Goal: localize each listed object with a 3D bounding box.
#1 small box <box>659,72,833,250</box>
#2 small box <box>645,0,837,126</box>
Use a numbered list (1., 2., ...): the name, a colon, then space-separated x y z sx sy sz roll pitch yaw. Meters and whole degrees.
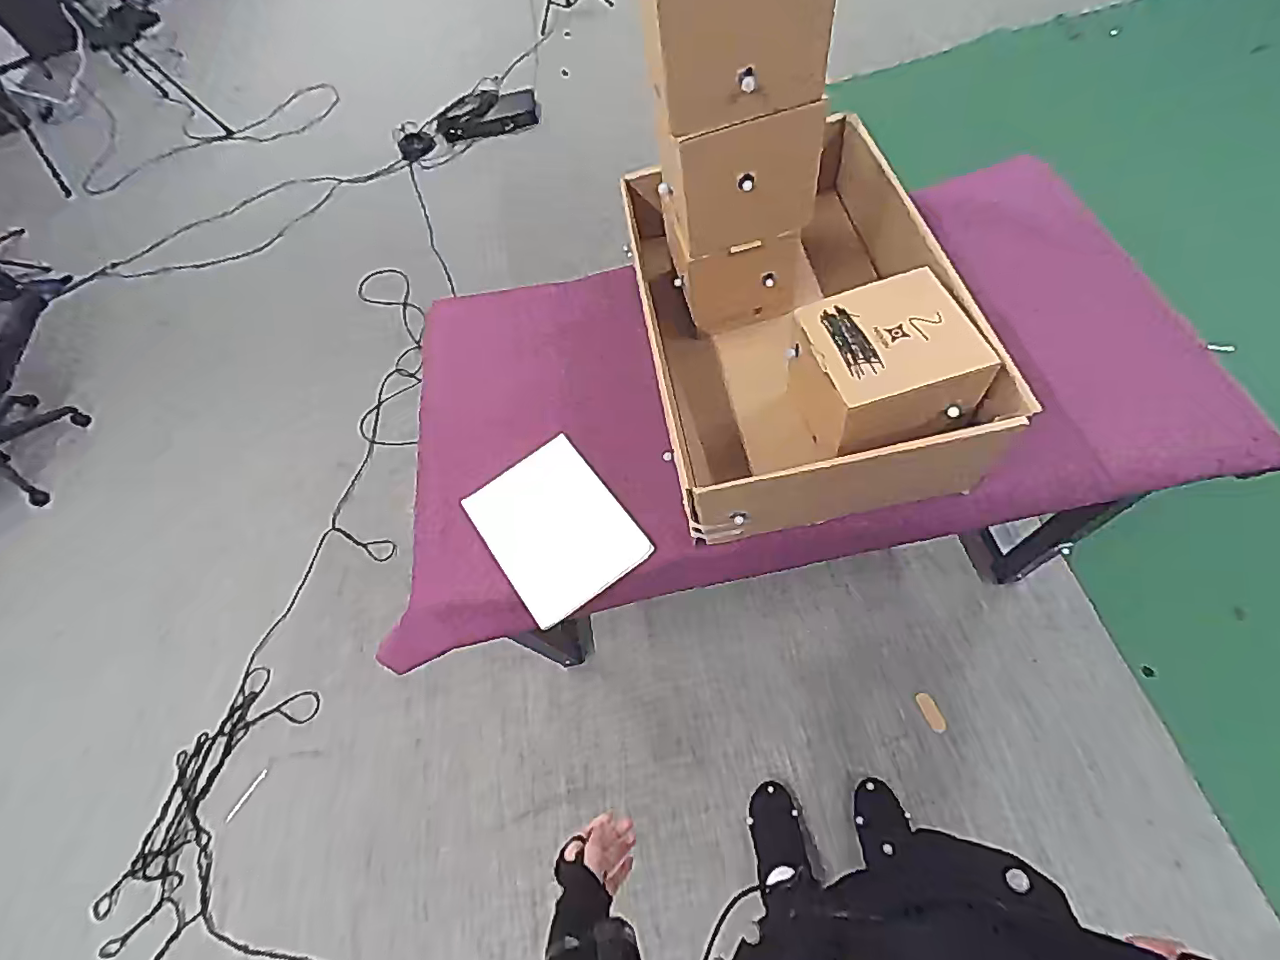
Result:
1. small box: 0.128 -0.439 0.708 0.179 0.176 0.168 -15 62 4
2. small box: 0.098 -0.513 0.564 0.179 0.176 0.168 -12 62 3
